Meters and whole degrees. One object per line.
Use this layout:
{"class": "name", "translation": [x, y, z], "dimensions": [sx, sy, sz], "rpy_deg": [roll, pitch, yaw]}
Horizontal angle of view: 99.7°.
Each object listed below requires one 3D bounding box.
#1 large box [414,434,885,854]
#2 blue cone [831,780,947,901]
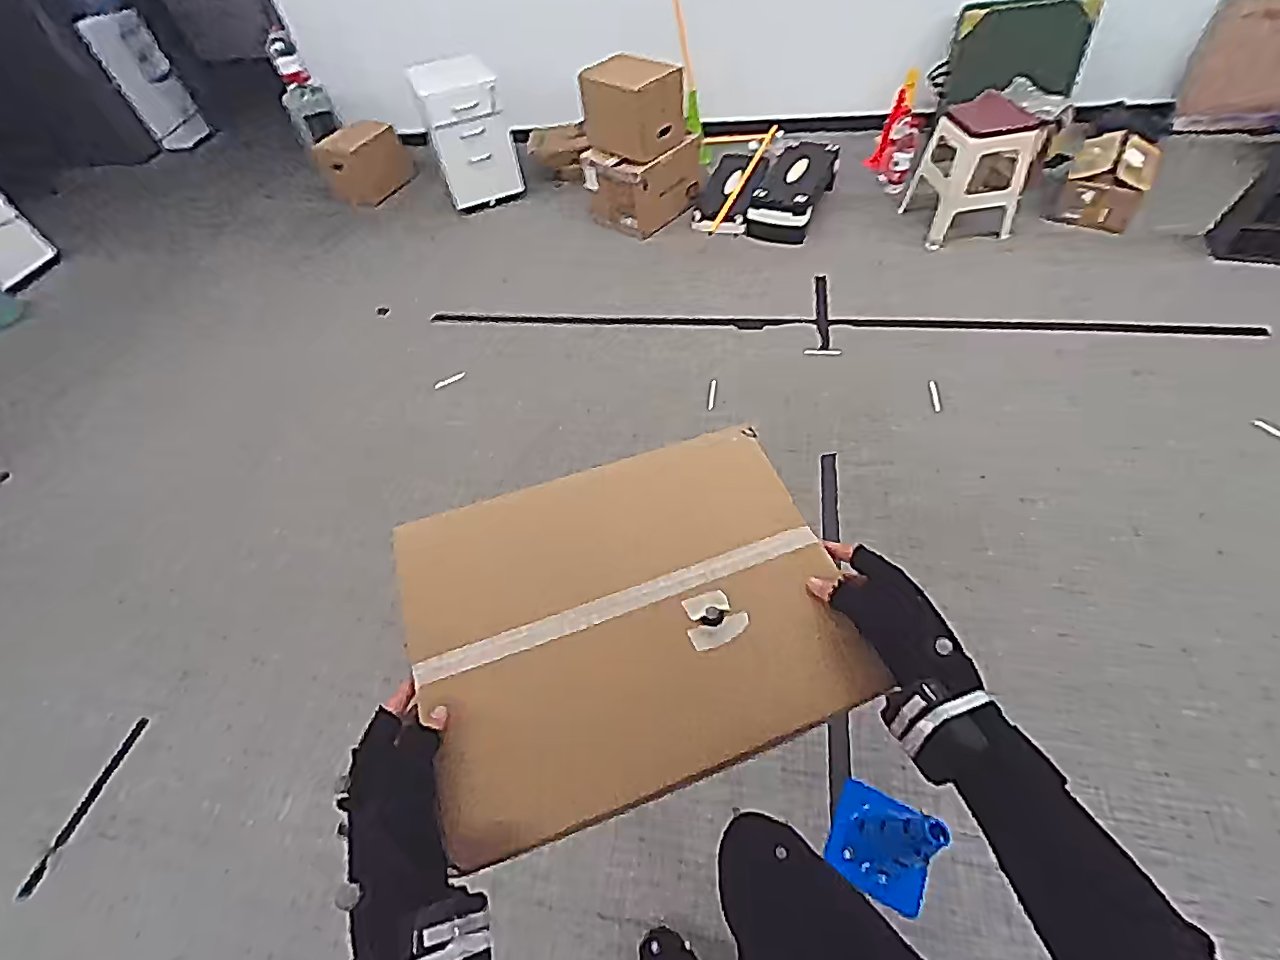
{"class": "large box", "translation": [-0.008, 0.202, 0.662], "dimensions": [0.408, 0.320, 0.320], "rpy_deg": [-16, 59, -11]}
{"class": "blue cone", "translation": [0.518, 0.691, 1.063], "dimensions": [0.193, 0.380, 0.192], "rpy_deg": [22, 58, 21]}
